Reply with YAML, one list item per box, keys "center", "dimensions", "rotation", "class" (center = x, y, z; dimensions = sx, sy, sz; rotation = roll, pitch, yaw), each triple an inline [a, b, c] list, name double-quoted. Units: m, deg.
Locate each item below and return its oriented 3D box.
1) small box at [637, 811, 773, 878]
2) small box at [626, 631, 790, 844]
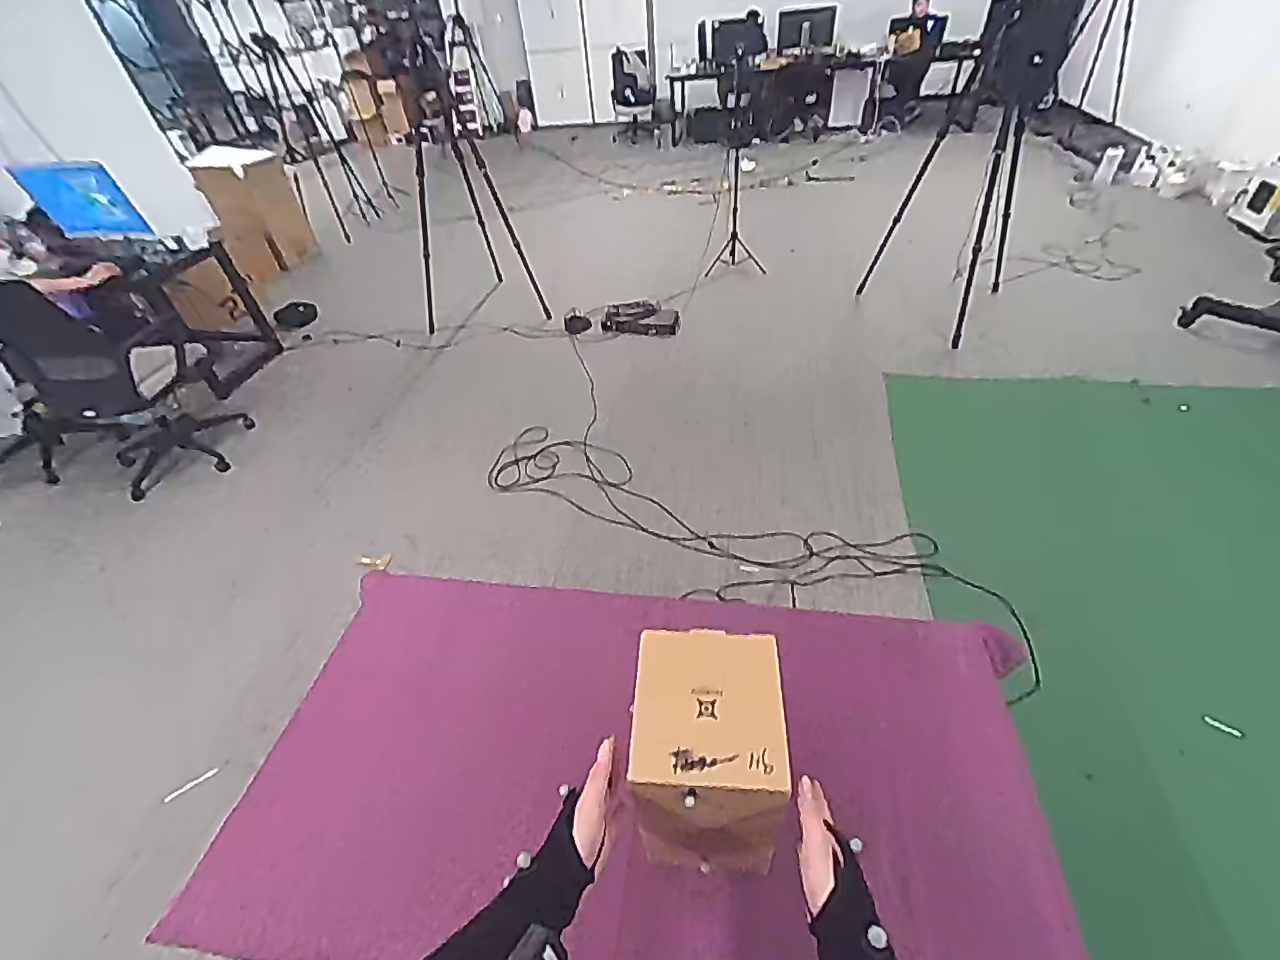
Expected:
- center: [0.091, 0.426, 0.758]
  dimensions: [0.168, 0.176, 0.179]
  rotation: [0, 43, 8]
  class: "small box"
- center: [0.079, 0.305, 0.648]
  dimensions: [0.168, 0.176, 0.179]
  rotation: [0, 42, 7]
  class: "small box"
